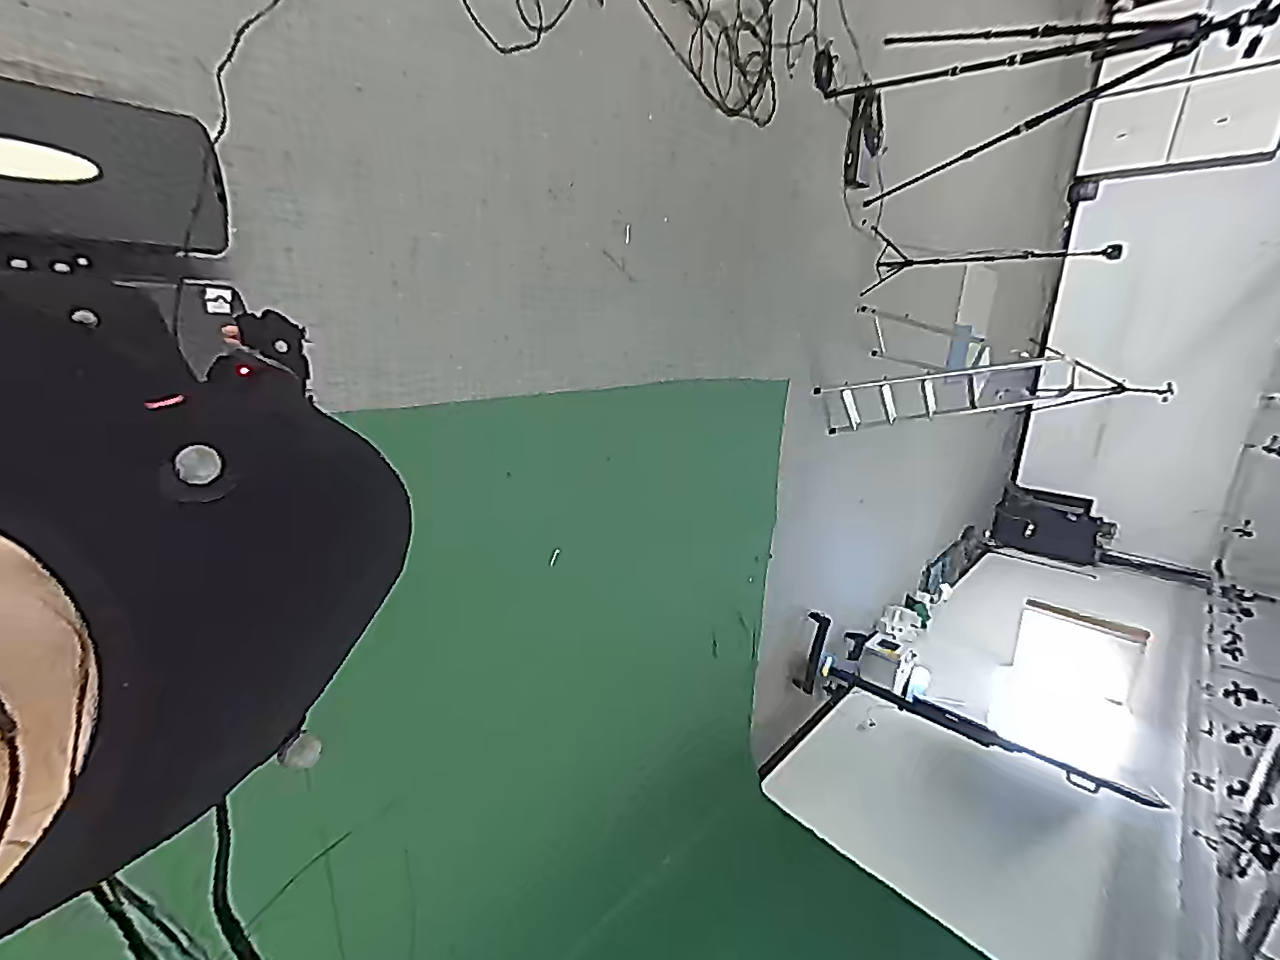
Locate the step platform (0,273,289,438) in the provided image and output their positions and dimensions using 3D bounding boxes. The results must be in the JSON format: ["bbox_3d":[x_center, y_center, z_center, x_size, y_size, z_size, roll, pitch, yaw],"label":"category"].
[{"bbox_3d":[-1.037,-0.213,0.945,0.684,0.204,0.286,-15,113,-44],"label":"step platform"}]
